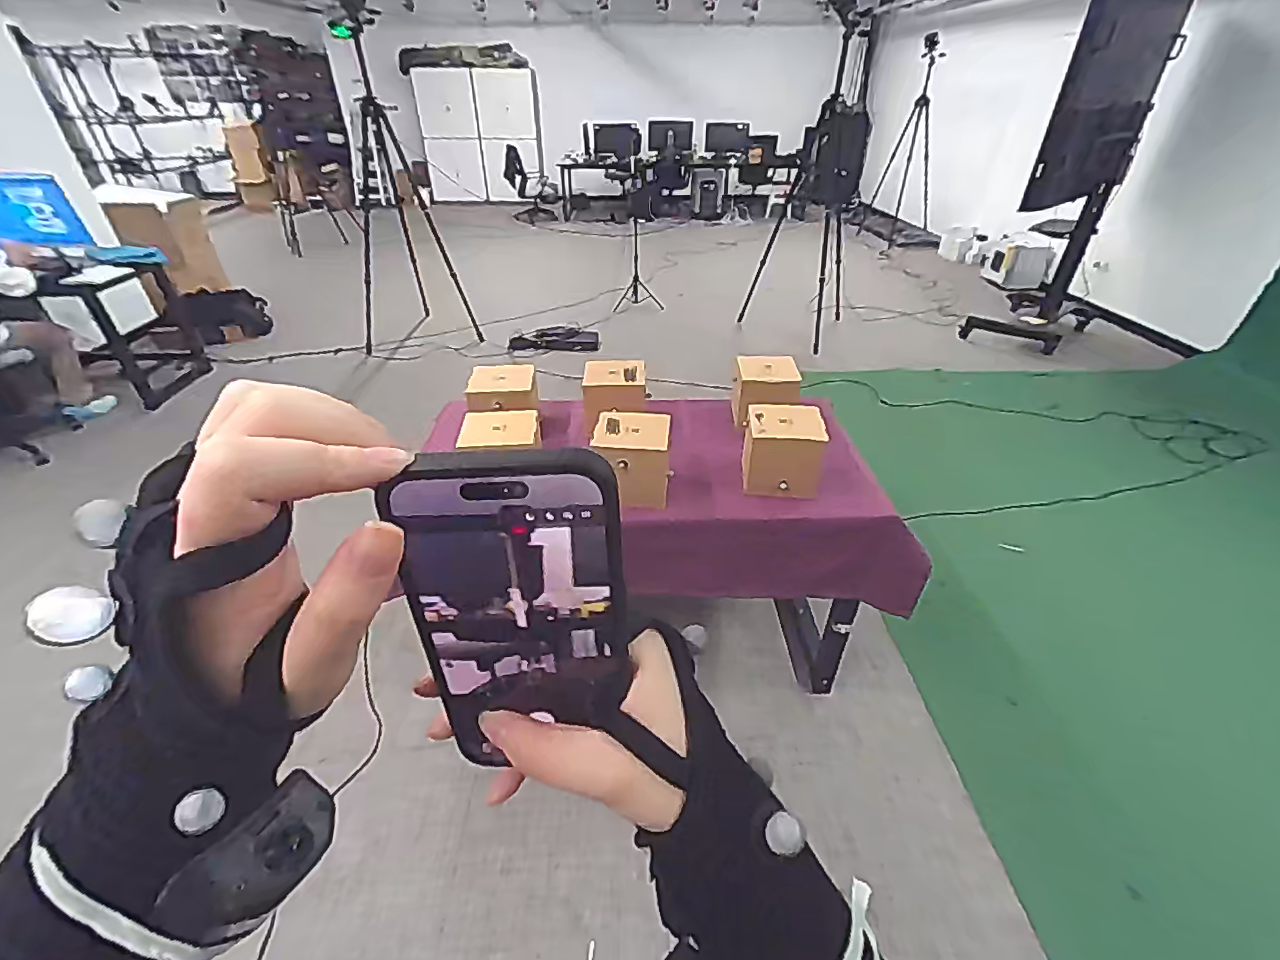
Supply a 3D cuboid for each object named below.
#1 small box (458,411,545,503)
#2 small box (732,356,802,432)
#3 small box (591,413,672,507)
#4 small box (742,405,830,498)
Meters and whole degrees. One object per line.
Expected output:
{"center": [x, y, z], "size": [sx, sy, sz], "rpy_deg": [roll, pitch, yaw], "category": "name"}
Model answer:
{"center": [-0.329, -0.055, 1.321], "size": [0.179, 0.176, 0.168], "rpy_deg": [-3, 35, -6], "category": "small box"}
{"center": [0.367, -0.251, 1.597], "size": [0.168, 0.176, 0.179], "rpy_deg": [1, 36, 3], "category": "small box"}
{"center": [-0.016, -0.048, 1.311], "size": [0.179, 0.176, 0.168], "rpy_deg": [4, 36, 4], "category": "small box"}
{"center": [0.353, -0.069, 1.342], "size": [0.179, 0.176, 0.168], "rpy_deg": [4, 35, 5], "category": "small box"}
